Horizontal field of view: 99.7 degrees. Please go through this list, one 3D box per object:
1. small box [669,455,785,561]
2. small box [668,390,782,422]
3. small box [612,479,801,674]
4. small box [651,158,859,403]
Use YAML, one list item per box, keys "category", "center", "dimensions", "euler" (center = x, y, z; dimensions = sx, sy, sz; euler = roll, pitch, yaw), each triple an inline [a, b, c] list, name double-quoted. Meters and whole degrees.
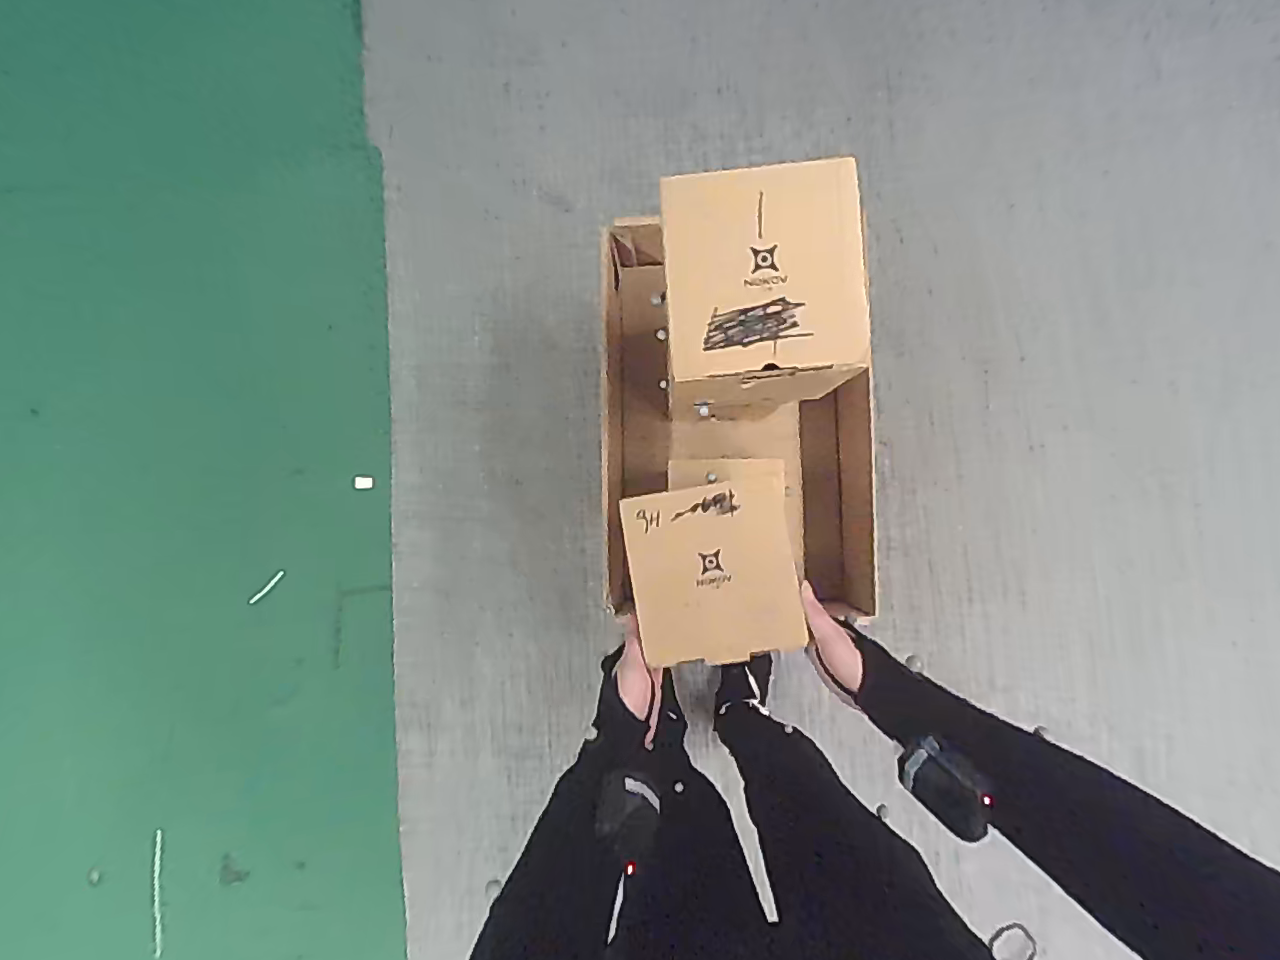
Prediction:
- category: "small box"
  center: [0.127, 0.060, 0.839]
  dimensions: [0.168, 0.176, 0.179]
  euler: [-1, 85, 5]
- category: "small box"
  center: [0.126, -0.192, 0.861]
  dimensions: [0.168, 0.176, 0.179]
  euler: [-2, 89, 4]
- category: "small box"
  center: [0.074, 0.102, 0.620]
  dimensions: [0.168, 0.176, 0.179]
  euler: [-11, 85, 6]
- category: "small box"
  center: [0.102, -0.175, 0.532]
  dimensions: [0.168, 0.176, 0.179]
  euler: [-4, 88, 4]
